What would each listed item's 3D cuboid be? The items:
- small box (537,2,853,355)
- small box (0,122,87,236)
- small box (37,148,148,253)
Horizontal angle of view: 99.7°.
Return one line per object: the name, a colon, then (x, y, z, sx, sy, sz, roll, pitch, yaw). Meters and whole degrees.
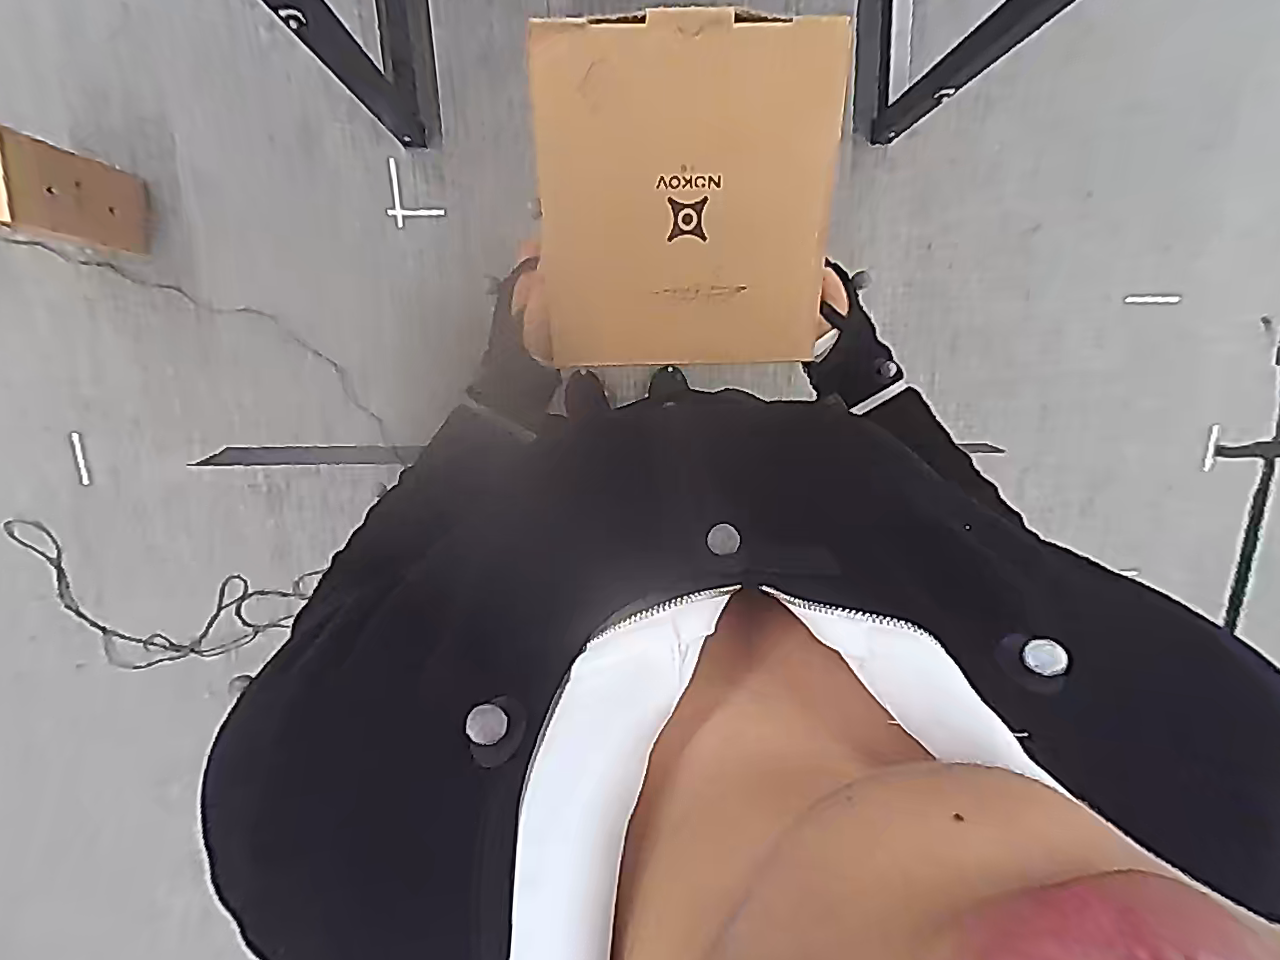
small box: (0.026, -0.192, 0.378, 0.168, 0.176, 0.179, -2, 115, -1)
small box: (-1.226, -0.580, 1.041, 0.179, 0.176, 0.168, 4, 101, -4)
small box: (-1.246, -0.622, 1.199, 0.168, 0.176, 0.179, 7, 103, -5)
